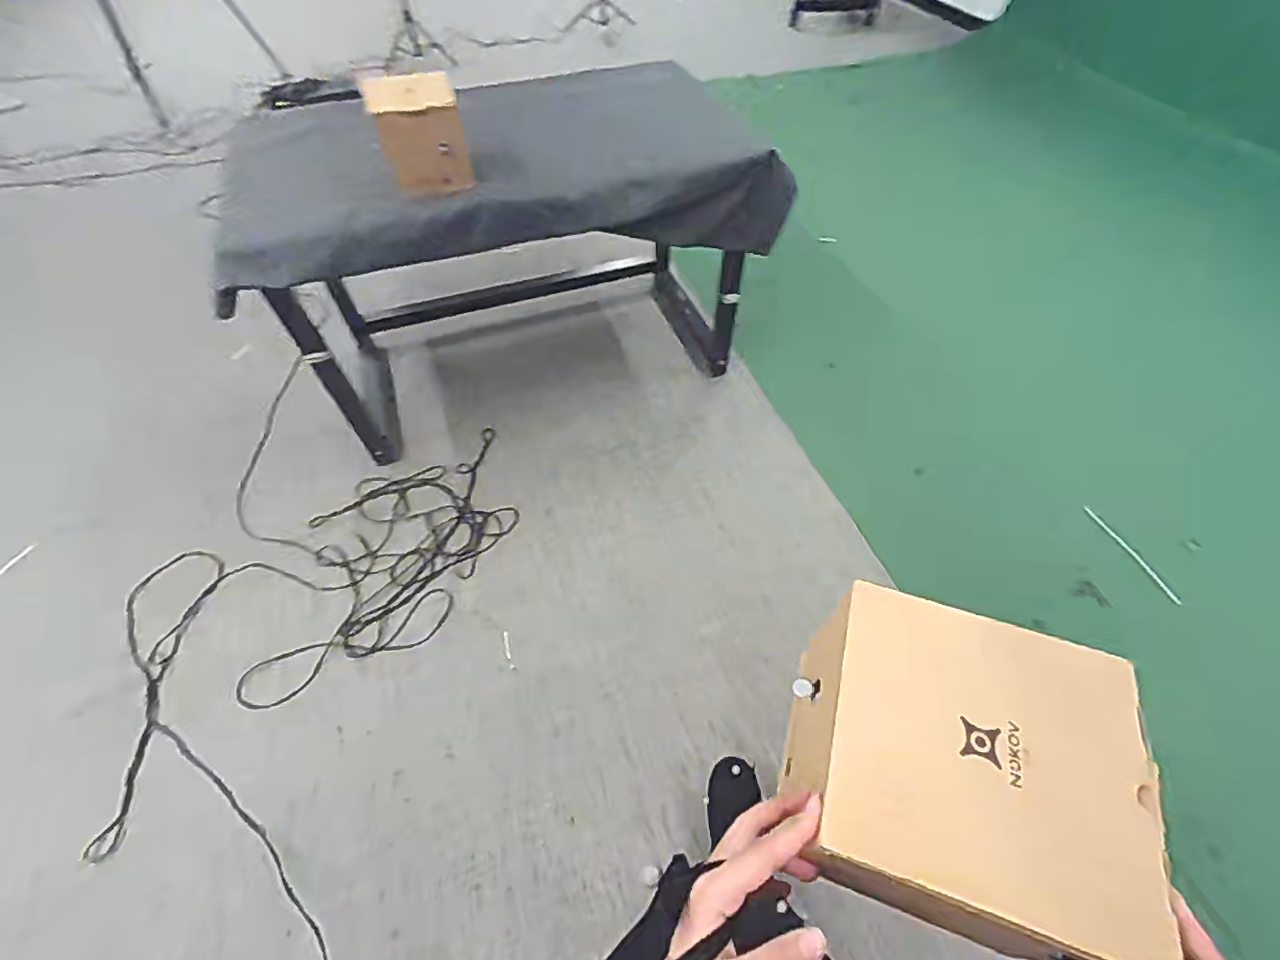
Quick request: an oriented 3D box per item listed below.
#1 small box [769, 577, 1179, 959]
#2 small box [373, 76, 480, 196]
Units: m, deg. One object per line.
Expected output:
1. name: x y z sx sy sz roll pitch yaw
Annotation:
1. small box: 0.201 0.197 0.382 0.179 0.176 0.168 16 56 11
2. small box: -0.448 -0.723 1.147 0.168 0.176 0.179 -15 55 -12
